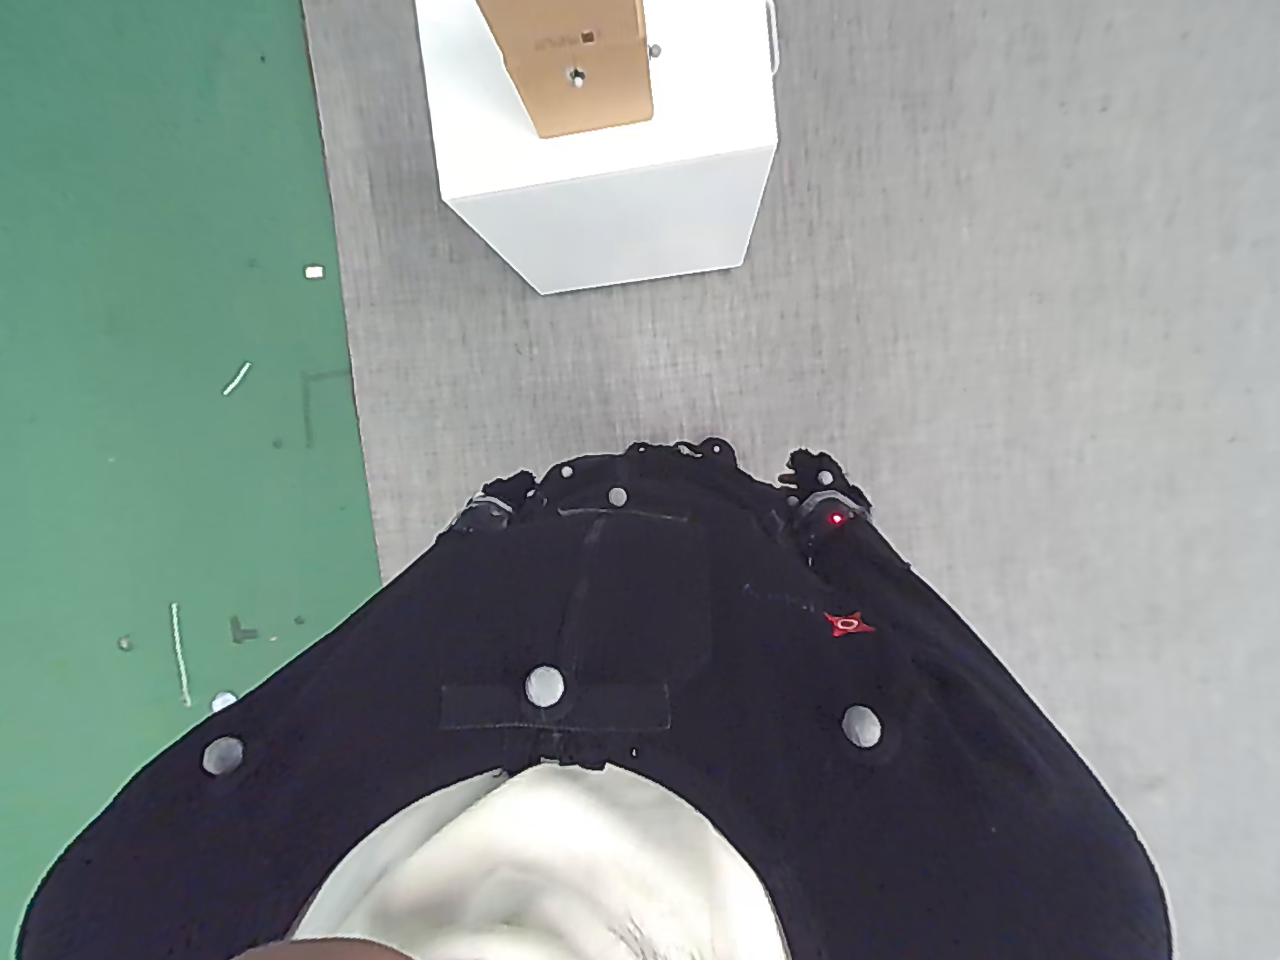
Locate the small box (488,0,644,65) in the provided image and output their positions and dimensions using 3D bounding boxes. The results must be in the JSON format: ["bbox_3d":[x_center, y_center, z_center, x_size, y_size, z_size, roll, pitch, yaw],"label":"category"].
[{"bbox_3d":[-0.091,-0.586,0.559,0.168,0.176,0.179,-8,94,5],"label":"small box"}]

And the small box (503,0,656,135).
[{"bbox_3d":[-0.077,-0.594,0.719,0.179,0.176,0.168,-6,94,5],"label":"small box"}]
